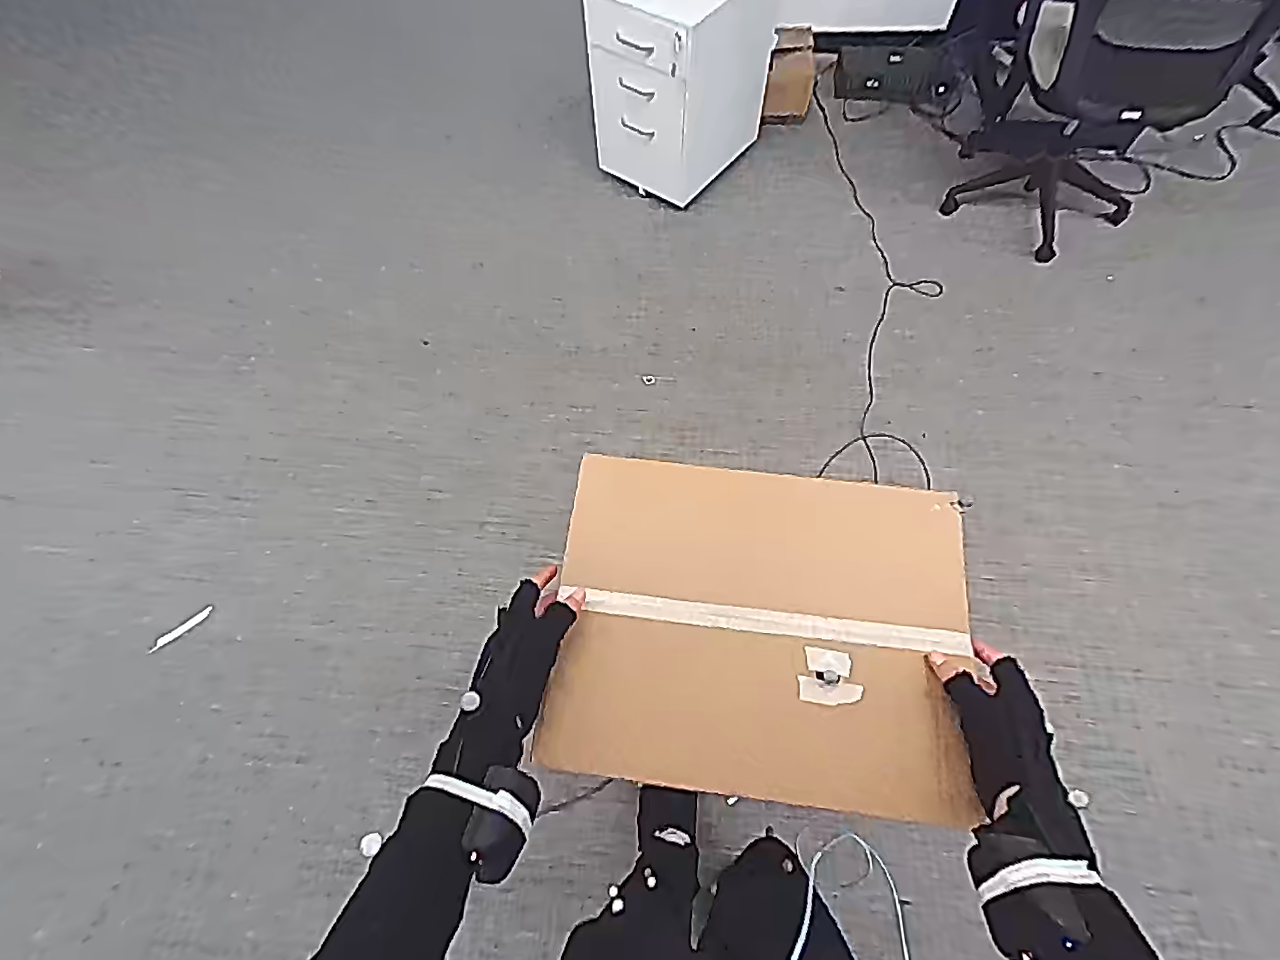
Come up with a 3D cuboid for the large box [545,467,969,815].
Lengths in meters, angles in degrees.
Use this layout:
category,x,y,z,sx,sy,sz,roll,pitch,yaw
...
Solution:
category,x,y,z,sx,sy,sz,roll,pitch,yaw
large box,0.122,0.197,0.693,0.408,0.320,0.320,6,71,4
